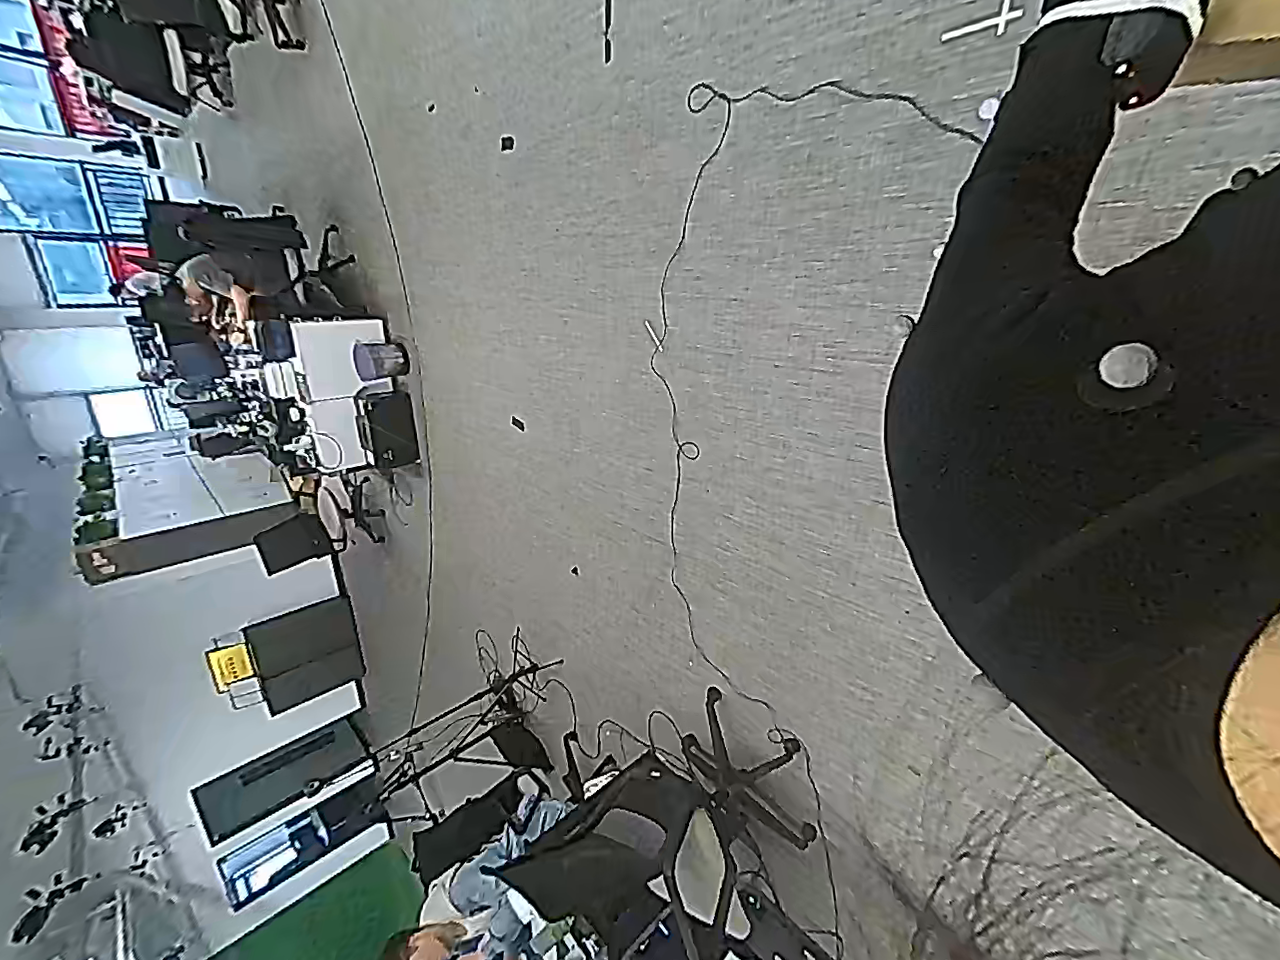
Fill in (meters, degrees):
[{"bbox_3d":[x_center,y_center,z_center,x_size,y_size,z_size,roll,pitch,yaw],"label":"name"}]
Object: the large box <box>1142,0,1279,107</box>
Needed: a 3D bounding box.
[{"bbox_3d":[0.603,-0.429,0.304,0.408,0.320,0.320,21,127,36],"label":"large box"}]
